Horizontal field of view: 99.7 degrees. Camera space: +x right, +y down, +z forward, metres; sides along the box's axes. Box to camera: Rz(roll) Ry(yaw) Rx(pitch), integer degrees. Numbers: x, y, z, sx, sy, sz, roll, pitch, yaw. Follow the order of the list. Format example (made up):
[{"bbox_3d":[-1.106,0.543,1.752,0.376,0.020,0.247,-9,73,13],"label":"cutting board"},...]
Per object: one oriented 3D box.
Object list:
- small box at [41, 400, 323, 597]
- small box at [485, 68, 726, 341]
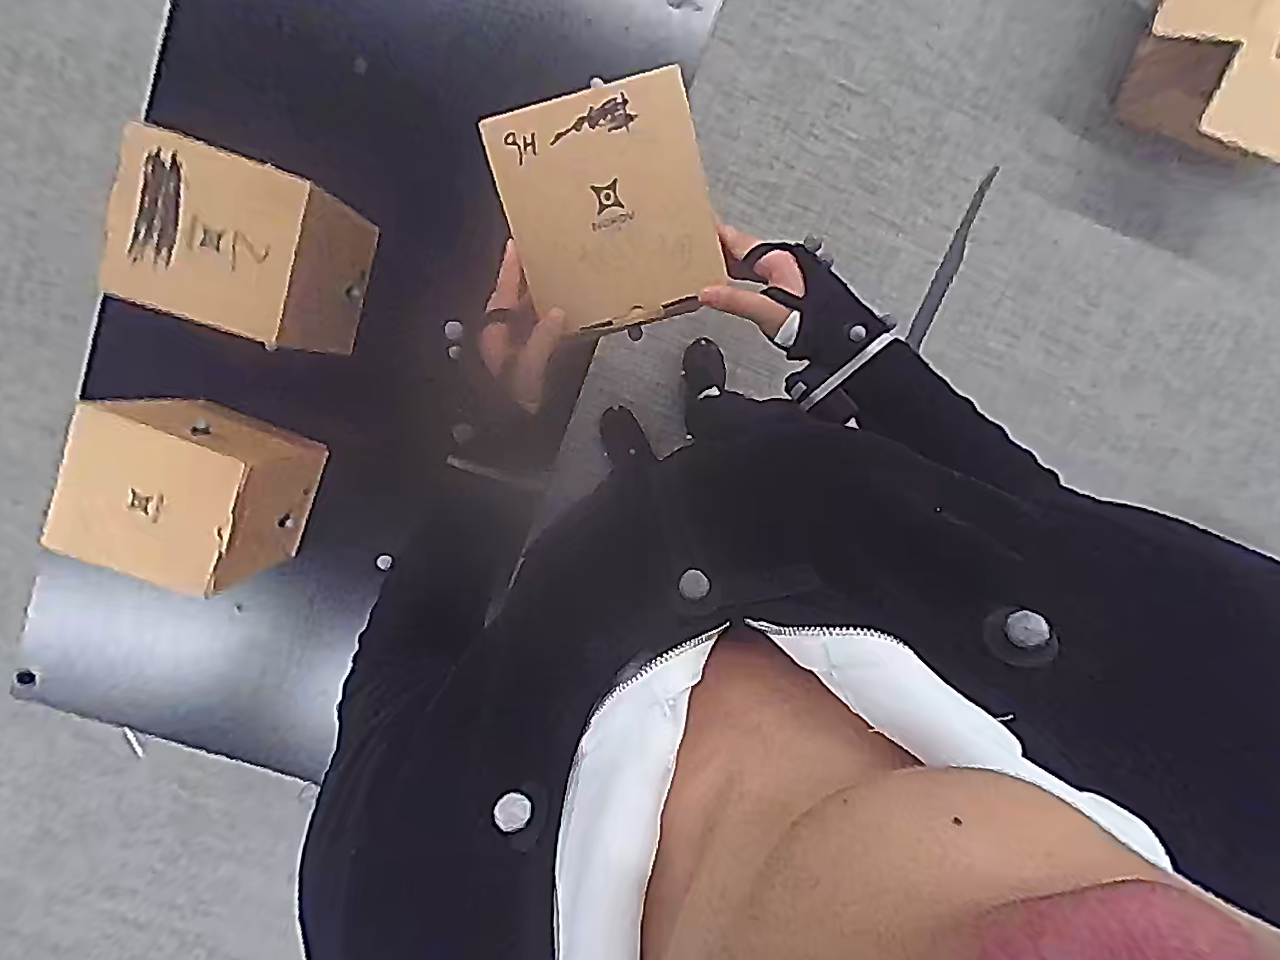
[{"bbox_3d":[-0.529,0.012,0.651,0.179,0.176,0.168,21,97,-6],"label":"small box"},{"bbox_3d":[-0.027,-0.239,0.518,0.168,0.176,0.179,-15,103,1],"label":"small box"}]
